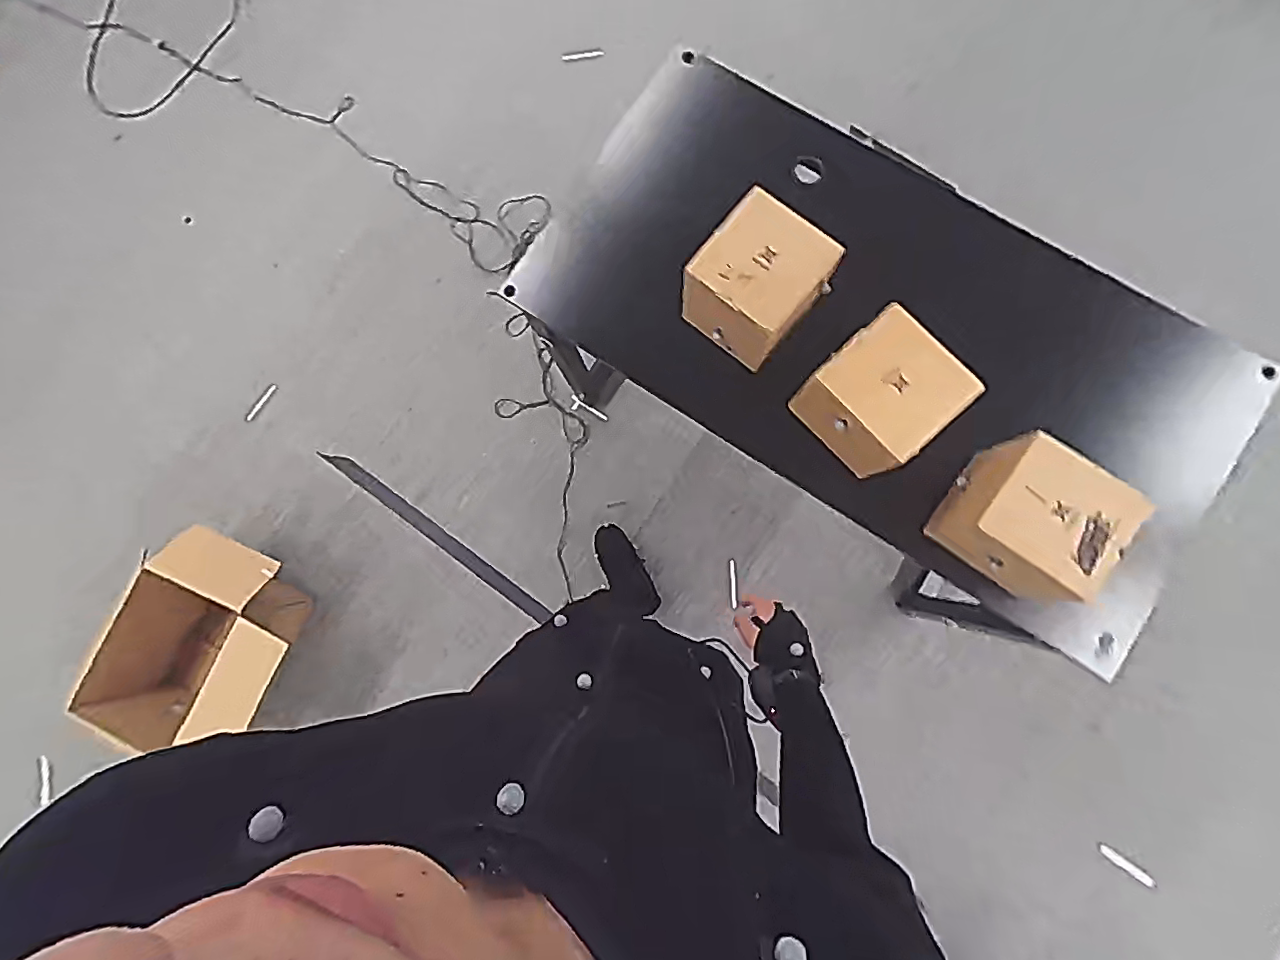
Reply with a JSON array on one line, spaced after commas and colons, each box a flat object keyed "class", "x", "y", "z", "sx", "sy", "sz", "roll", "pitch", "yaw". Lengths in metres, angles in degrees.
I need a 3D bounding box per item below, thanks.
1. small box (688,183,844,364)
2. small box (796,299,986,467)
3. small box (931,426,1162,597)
[{"class": "small box", "x": 0.188, "y": -0.321, "z": 0.873, "sx": 0.168, "sy": 0.176, "sz": 0.179, "roll": 39, "pitch": 87, "yaw": 8}, {"class": "small box", "x": 0.371, "y": -0.136, "z": 0.838, "sx": 0.168, "sy": 0.176, "sz": 0.179, "roll": -43, "pitch": 81, "yaw": -2}, {"class": "small box", "x": 0.579, "y": 0.049, "z": 0.797, "sx": 0.179, "sy": 0.176, "sz": 0.168, "roll": 36, "pitch": 86, "yaw": 9}]
